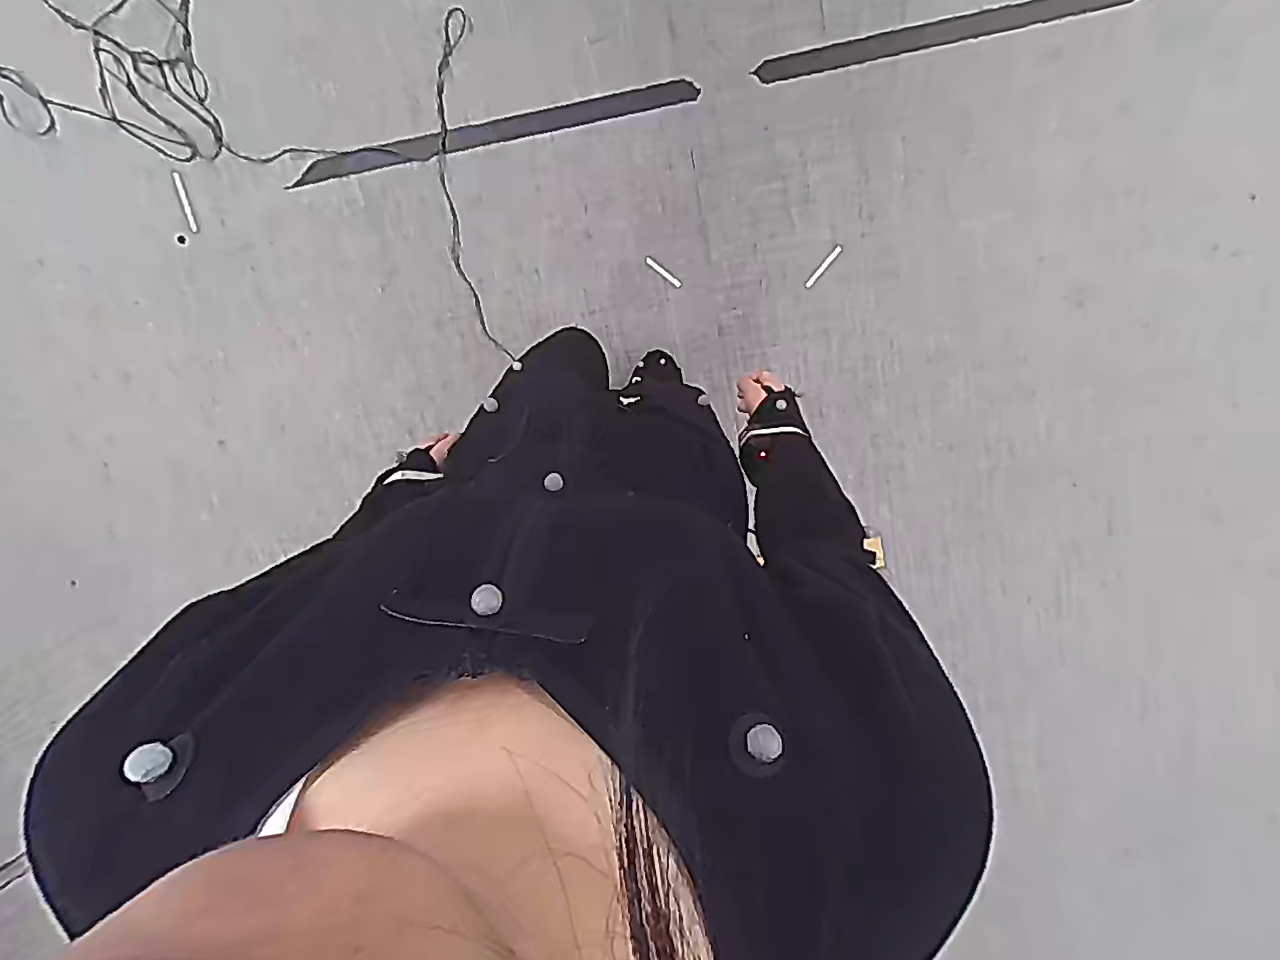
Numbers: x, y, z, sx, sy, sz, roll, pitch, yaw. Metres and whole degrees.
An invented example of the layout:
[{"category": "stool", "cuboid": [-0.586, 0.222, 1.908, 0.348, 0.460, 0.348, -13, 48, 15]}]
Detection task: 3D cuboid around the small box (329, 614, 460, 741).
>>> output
[{"category": "small box", "cuboid": [-0.540, 0.434, 1.217, 0.179, 0.176, 0.168, 38, 101, -5]}]
